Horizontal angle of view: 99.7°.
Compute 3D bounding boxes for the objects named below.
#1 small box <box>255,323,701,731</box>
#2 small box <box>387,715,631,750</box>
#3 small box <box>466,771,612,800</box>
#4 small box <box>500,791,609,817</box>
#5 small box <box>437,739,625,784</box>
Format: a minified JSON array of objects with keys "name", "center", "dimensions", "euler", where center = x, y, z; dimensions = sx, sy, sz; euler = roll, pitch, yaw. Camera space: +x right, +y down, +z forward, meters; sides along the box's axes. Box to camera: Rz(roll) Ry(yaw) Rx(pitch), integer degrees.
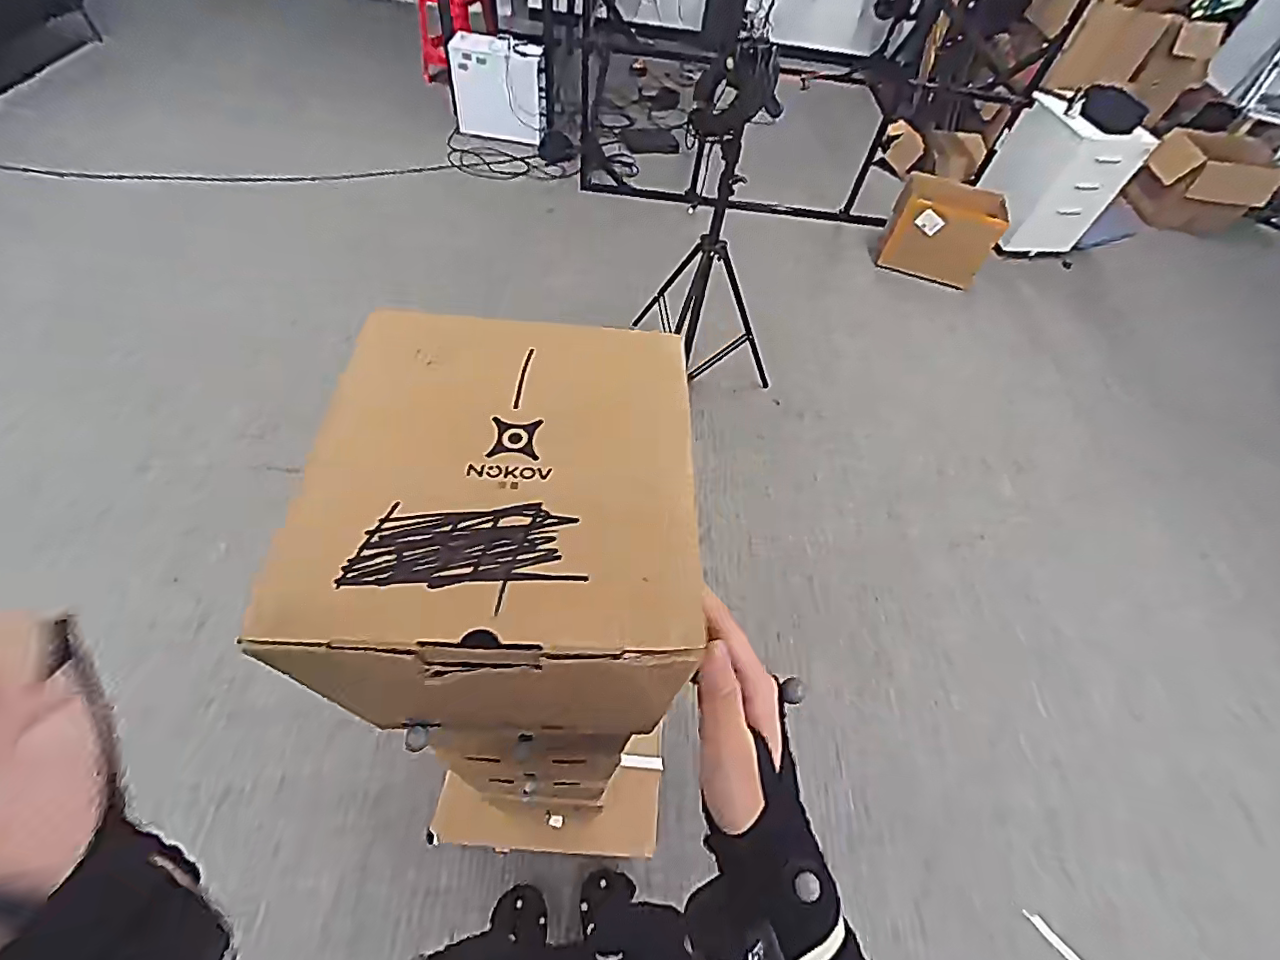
[{"name":"small box","center":[-0.064,0.038,0.308],"dimensions":[0.168,0.176,0.179],"euler":[3,56,-5]},{"name":"small box","center":[-0.084,0.121,0.450],"dimensions":[0.168,0.176,0.179],"euler":[3,57,-6]},{"name":"small box","center":[-0.119,0.313,0.714],"dimensions":[0.168,0.176,0.179],"euler":[5,56,-4]},{"name":"small box","center":[-0.145,0.507,0.975],"dimensions":[0.179,0.176,0.168],"euler":[5,56,-5]},{"name":"small box","center":[-0.102,0.217,0.581],"dimensions":[0.168,0.176,0.179],"euler":[3,56,-4]}]
